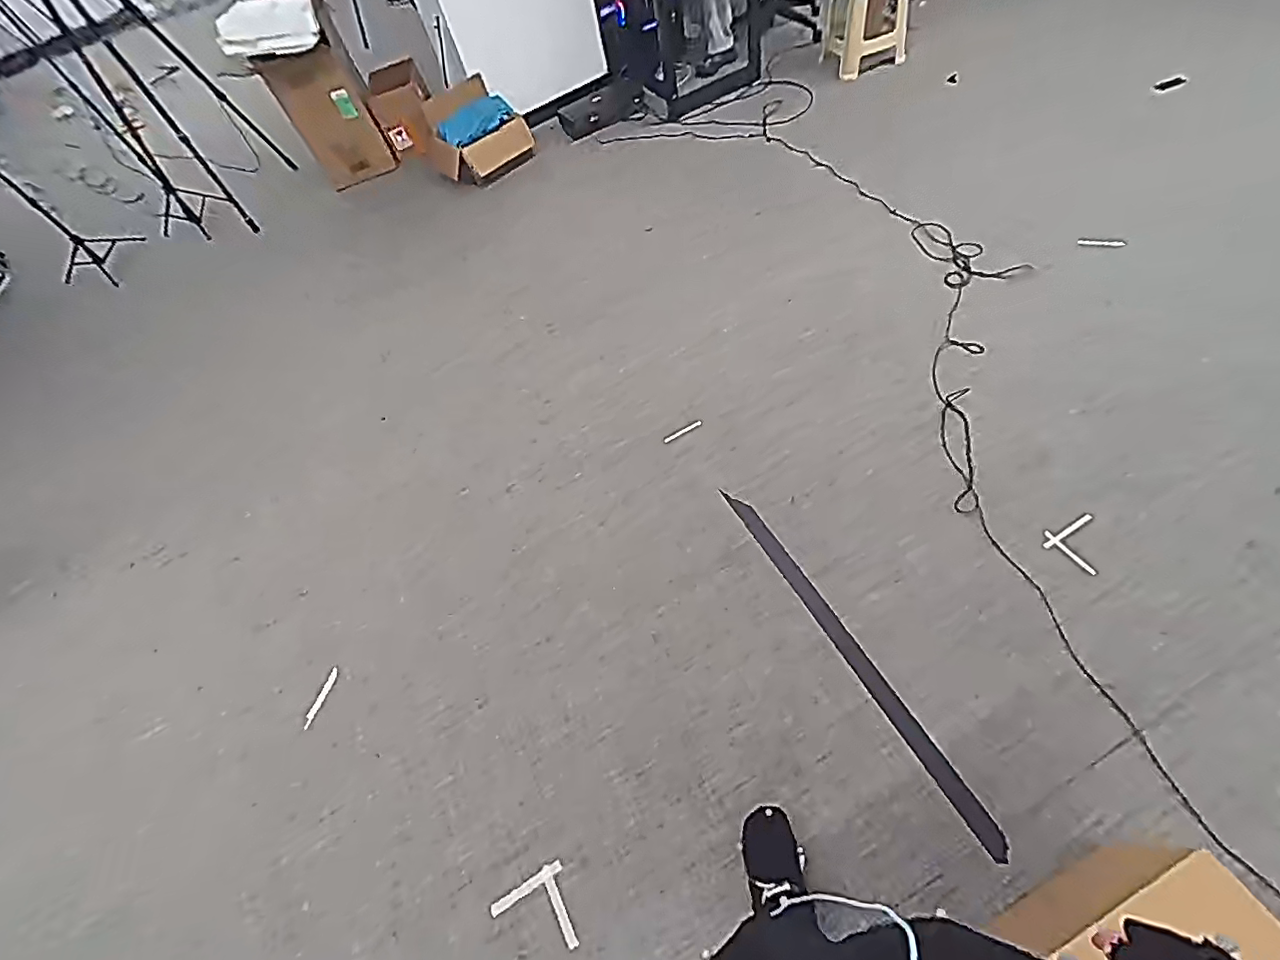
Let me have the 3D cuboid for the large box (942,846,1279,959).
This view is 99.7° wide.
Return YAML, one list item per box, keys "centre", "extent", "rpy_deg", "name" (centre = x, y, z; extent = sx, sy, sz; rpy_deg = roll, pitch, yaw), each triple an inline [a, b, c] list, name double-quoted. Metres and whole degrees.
- centre: [0.760, 0.831, 0.823]
  extent: [0.408, 0.320, 0.320]
  rpy_deg: [-30, 54, -5]
  name: "large box"
